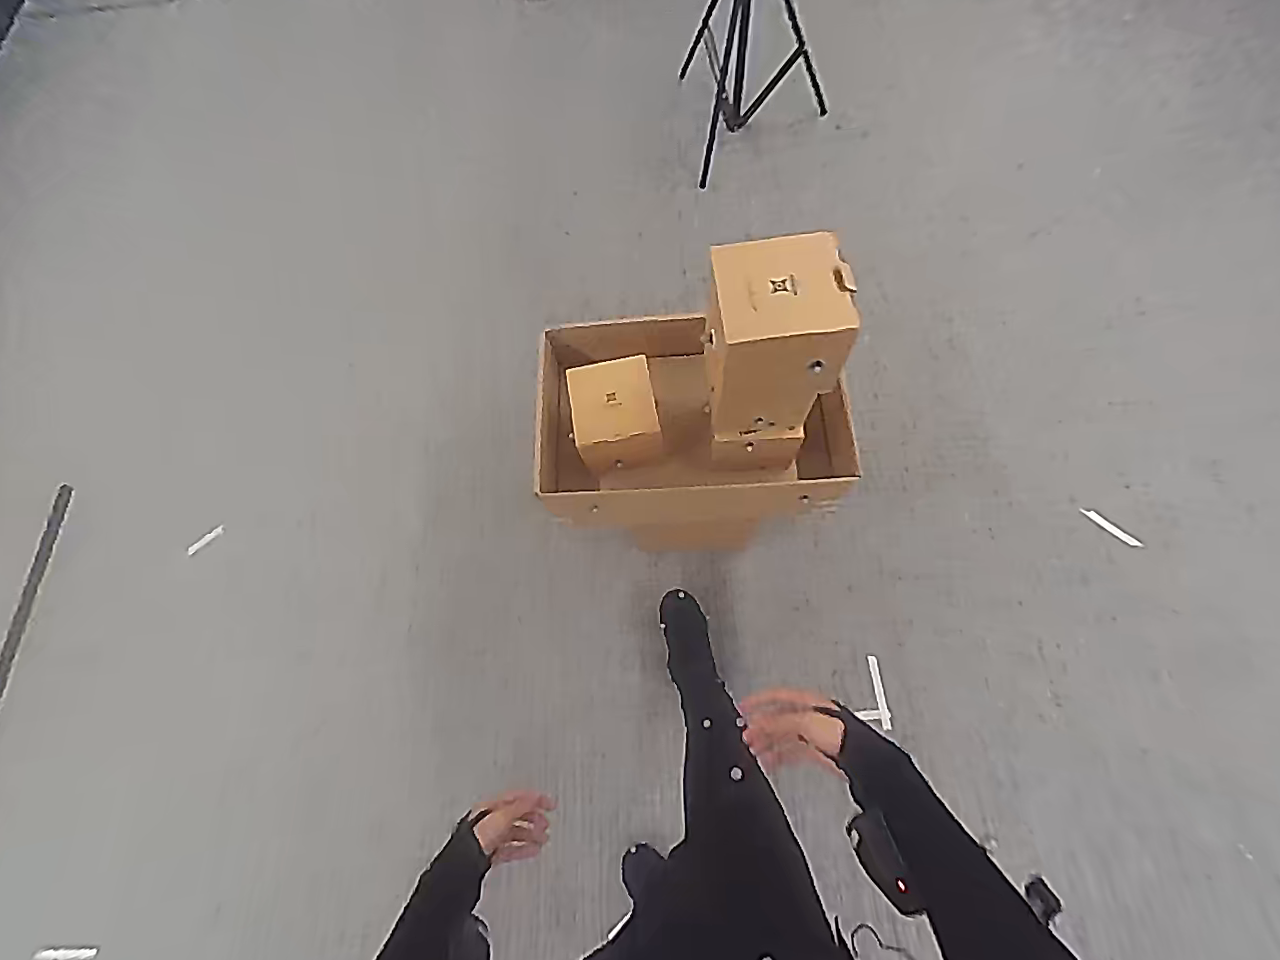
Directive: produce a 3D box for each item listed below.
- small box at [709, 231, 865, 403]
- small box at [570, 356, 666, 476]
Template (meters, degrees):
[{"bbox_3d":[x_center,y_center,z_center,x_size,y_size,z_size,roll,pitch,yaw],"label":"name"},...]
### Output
[{"bbox_3d":[0.200,-0.229,0.791,0.179,0.176,0.168,-6,69,3],"label":"small box"},{"bbox_3d":[-0.042,-0.128,1.127,0.168,0.176,0.179,-11,69,1],"label":"small box"}]
